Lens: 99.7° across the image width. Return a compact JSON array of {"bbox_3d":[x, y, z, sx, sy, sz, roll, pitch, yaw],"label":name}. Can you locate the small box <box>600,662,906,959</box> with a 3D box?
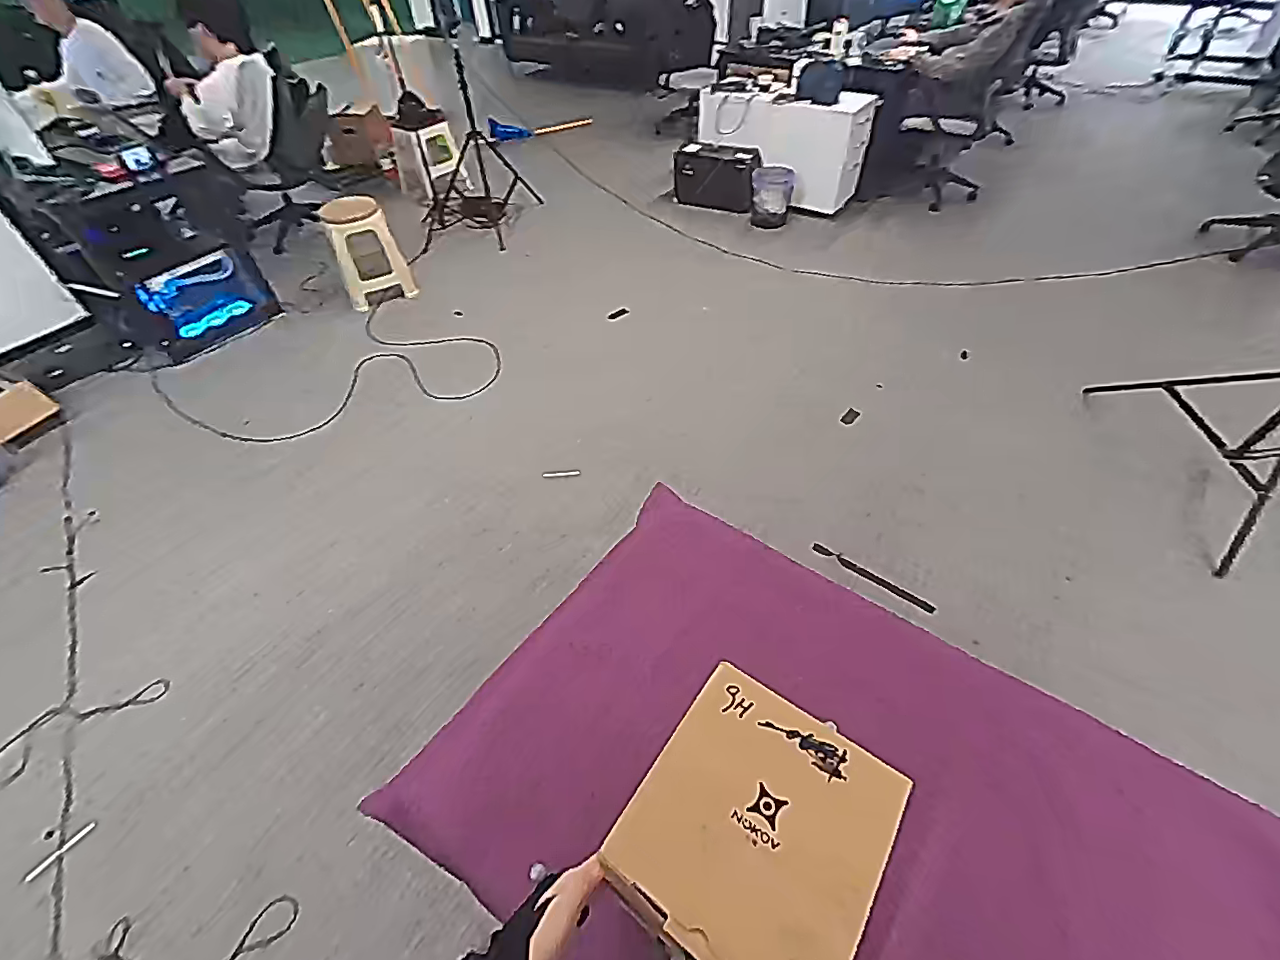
[{"bbox_3d":[0.089,0.298,0.454,0.168,0.176,0.179,28,54,24],"label":"small box"}]
